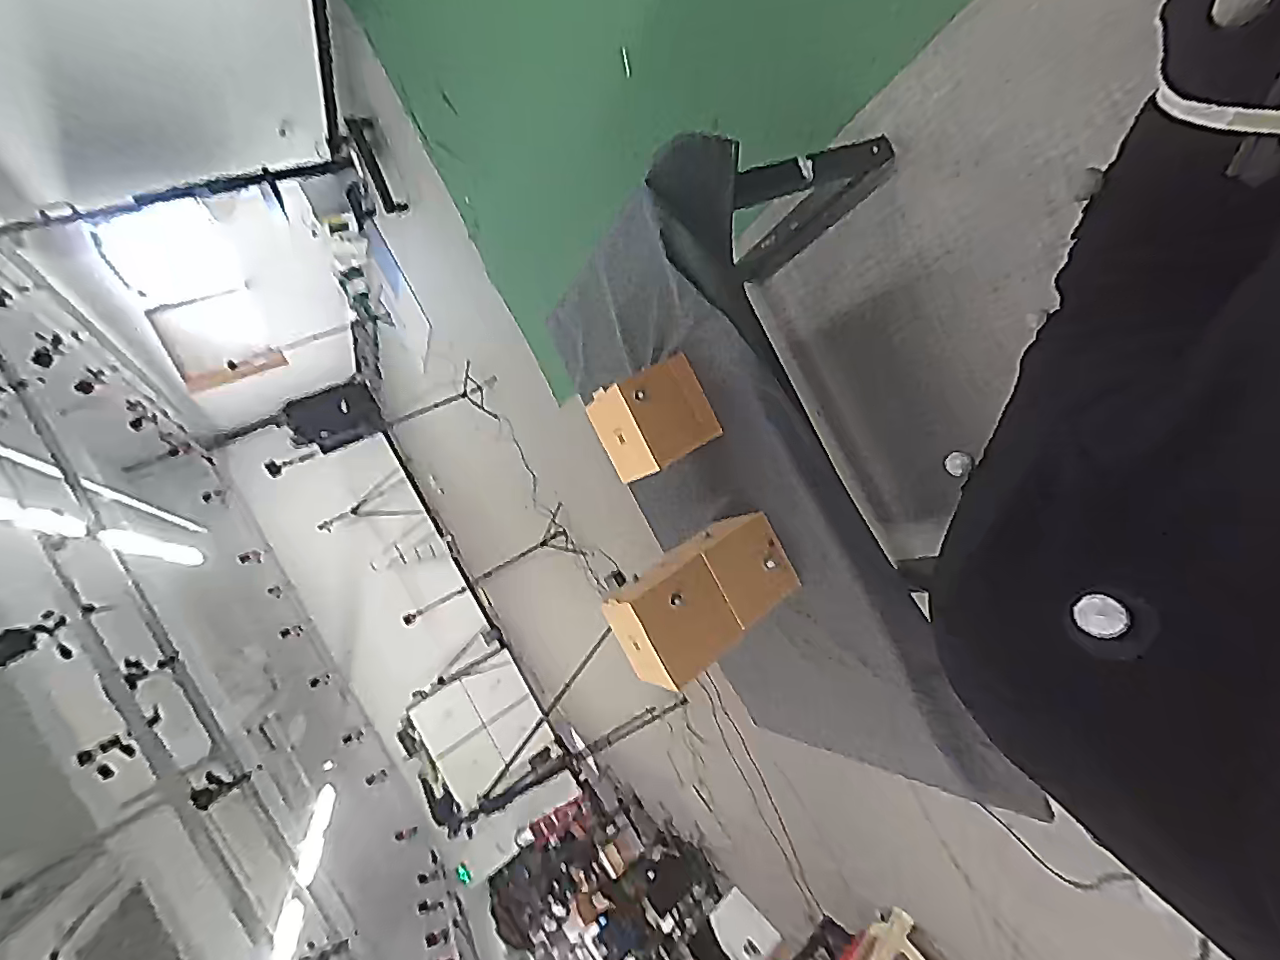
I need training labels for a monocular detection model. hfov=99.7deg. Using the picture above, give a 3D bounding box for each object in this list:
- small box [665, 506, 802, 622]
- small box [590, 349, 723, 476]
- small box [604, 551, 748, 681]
[{"bbox_3d":[0.188,0.168,1.090,0.168,0.176,0.179,61,152,-2],"label":"small box"},{"bbox_3d":[0.034,-0.131,1.069,0.179,0.176,0.168,63,153,-3],"label":"small box"},{"bbox_3d":[0.065,0.244,1.015,0.179,0.176,0.168,60,154,-1],"label":"small box"}]
